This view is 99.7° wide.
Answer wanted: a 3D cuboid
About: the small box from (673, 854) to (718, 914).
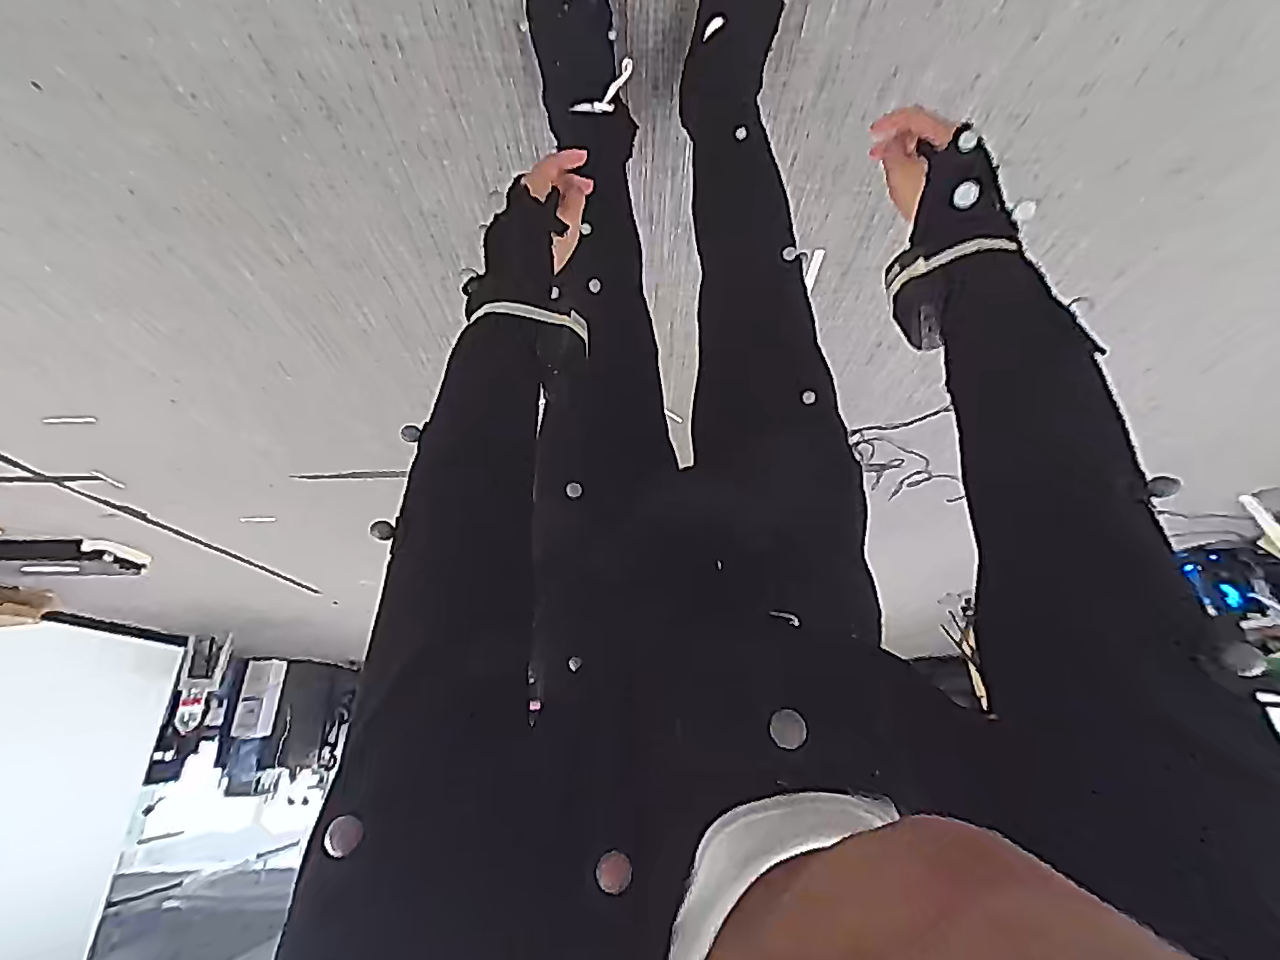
[{"bbox_3d":[0.226,1.671,2.243,0.168,0.176,0.179,0,155,0],"label":"small box"}]
